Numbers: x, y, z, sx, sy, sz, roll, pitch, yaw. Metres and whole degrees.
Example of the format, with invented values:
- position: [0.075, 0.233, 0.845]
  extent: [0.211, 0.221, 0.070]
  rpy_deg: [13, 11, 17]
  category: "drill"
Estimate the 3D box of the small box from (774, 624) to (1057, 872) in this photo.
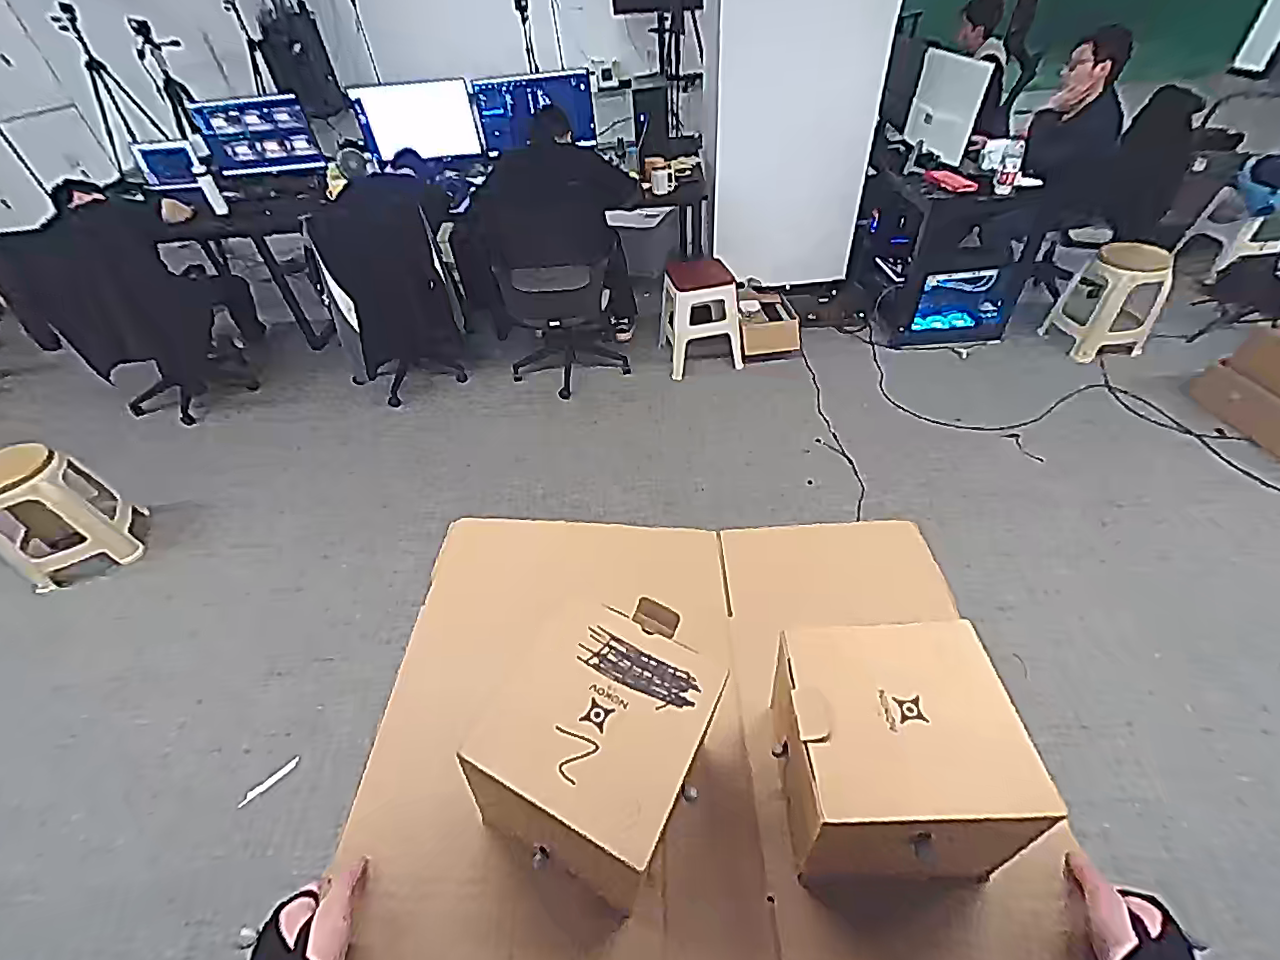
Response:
- position: [0.234, 0.258, 0.519]
  extent: [0.179, 0.176, 0.168]
  rpy_deg: [-5, 42, 4]
  category: "small box"
